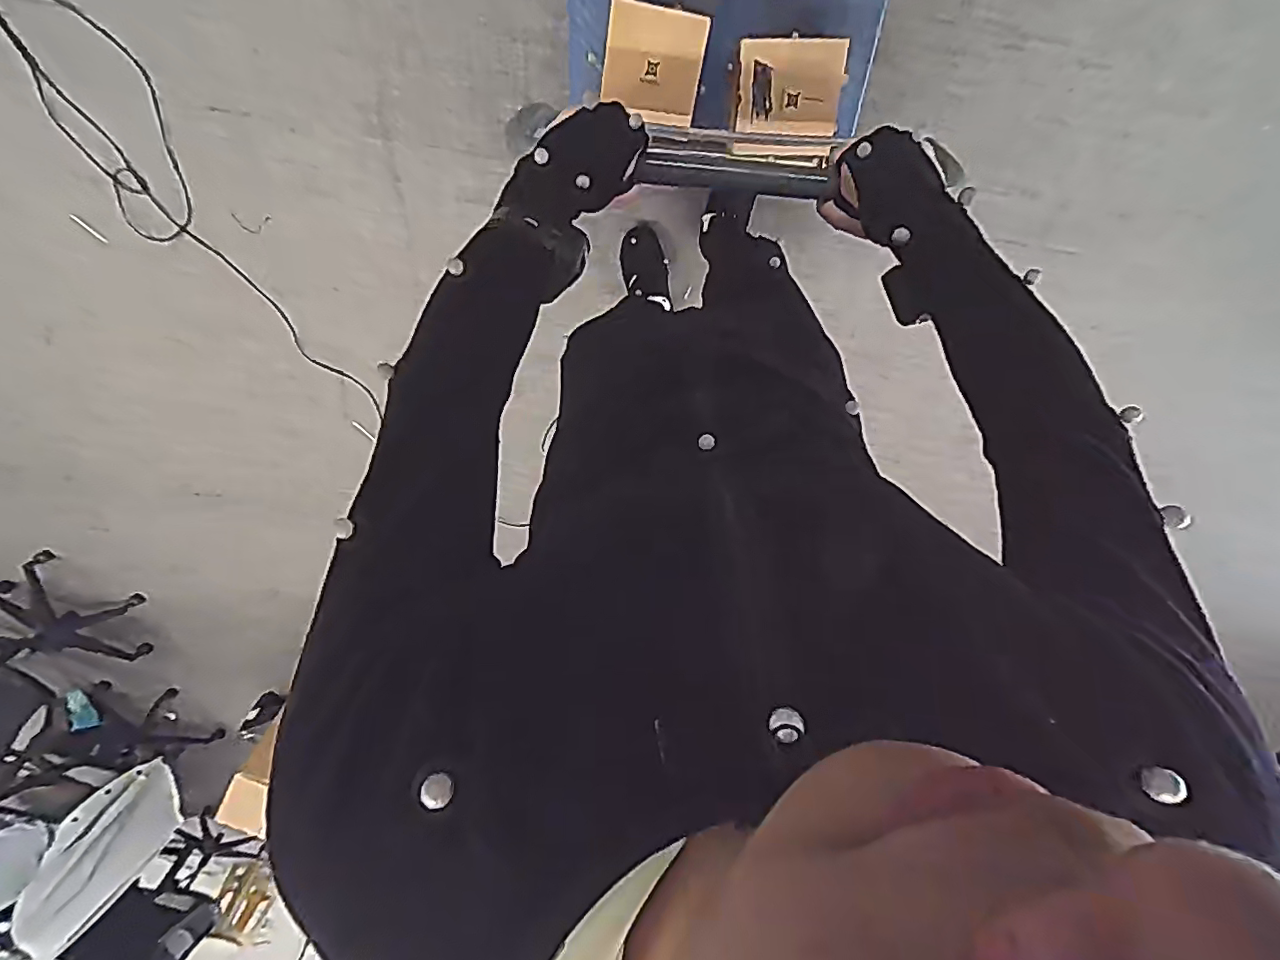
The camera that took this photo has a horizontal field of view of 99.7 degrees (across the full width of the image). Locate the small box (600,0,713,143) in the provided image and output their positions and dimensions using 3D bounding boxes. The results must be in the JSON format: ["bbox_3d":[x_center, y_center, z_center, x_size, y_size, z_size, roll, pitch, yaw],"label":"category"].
[{"bbox_3d":[0.028,-0.736,0.985,0.168,0.176,0.179,11,125,-3],"label":"small box"}]
